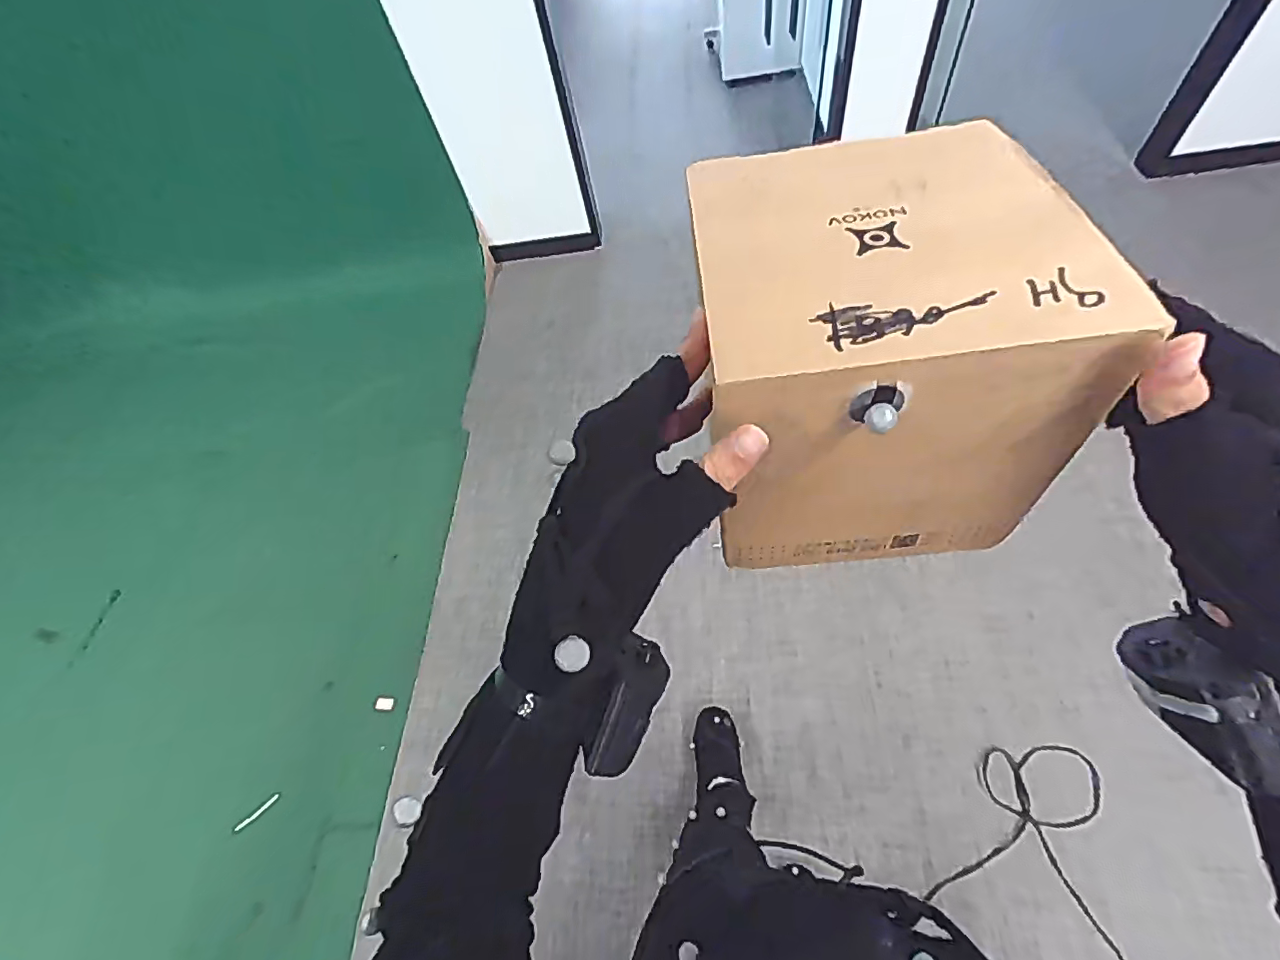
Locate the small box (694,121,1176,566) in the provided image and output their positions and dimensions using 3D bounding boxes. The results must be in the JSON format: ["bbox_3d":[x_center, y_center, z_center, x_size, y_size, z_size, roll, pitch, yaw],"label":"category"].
[{"bbox_3d":[0.121,-0.069,0.314,0.168,0.176,0.179,-6,54,7],"label":"small box"}]
